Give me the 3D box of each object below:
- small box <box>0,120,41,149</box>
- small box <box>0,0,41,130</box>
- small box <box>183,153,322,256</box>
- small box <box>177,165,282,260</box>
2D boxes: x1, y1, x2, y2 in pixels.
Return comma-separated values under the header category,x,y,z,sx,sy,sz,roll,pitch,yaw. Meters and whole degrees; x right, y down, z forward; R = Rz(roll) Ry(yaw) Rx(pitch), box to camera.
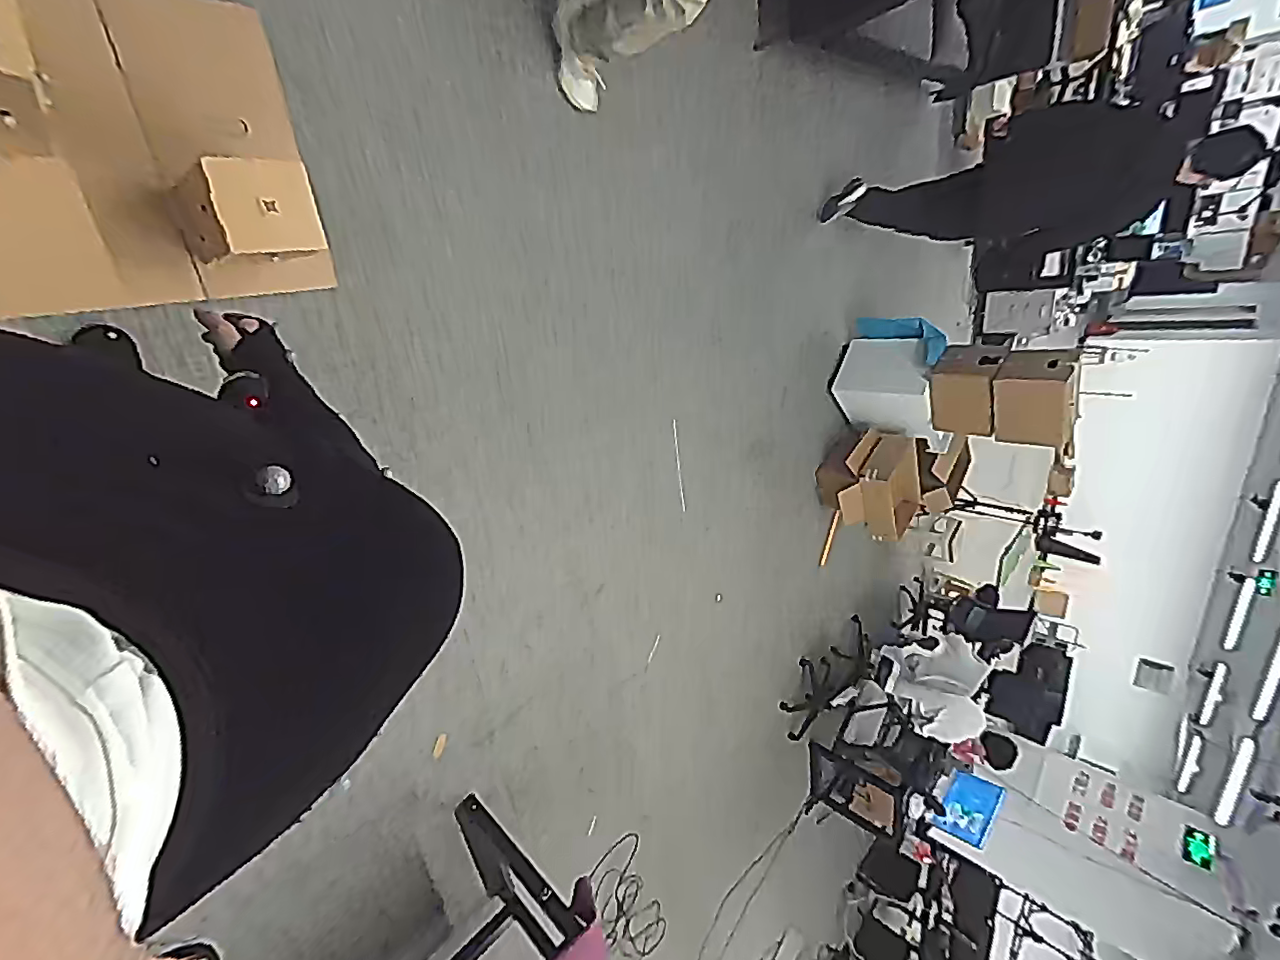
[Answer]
category,x,y,z,sx,sy,sz,roll,pitch,yaw
small box,-1.166,-0.685,0.918,0.179,0.176,0.168,-15,111,-43
small box,-1.047,-0.649,0.809,0.179,0.176,0.168,-16,111,-43
small box,-0.792,-0.556,1.106,0.179,0.176,0.168,-24,118,-38
small box,-0.906,-0.593,1.215,0.179,0.176,0.168,-24,117,-40
